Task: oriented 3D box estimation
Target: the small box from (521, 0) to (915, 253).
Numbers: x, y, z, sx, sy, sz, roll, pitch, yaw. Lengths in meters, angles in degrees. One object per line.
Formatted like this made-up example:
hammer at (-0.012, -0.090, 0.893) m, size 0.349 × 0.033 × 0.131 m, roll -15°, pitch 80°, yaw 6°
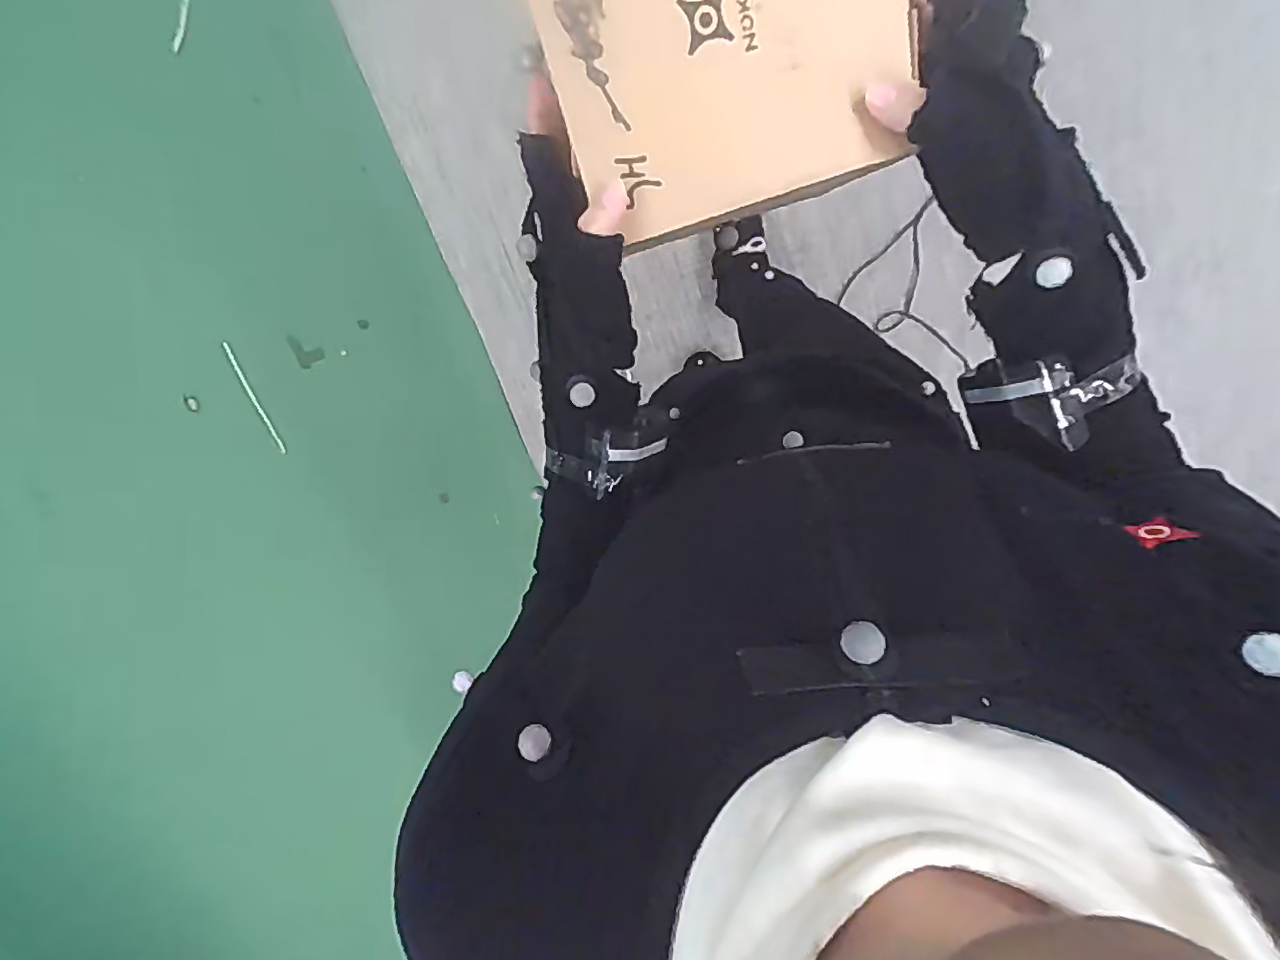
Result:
small box at (0.035, -0.253, 0.335) m, size 0.179 × 0.176 × 0.168 m, roll -18°, pitch 111°, yaw 7°
